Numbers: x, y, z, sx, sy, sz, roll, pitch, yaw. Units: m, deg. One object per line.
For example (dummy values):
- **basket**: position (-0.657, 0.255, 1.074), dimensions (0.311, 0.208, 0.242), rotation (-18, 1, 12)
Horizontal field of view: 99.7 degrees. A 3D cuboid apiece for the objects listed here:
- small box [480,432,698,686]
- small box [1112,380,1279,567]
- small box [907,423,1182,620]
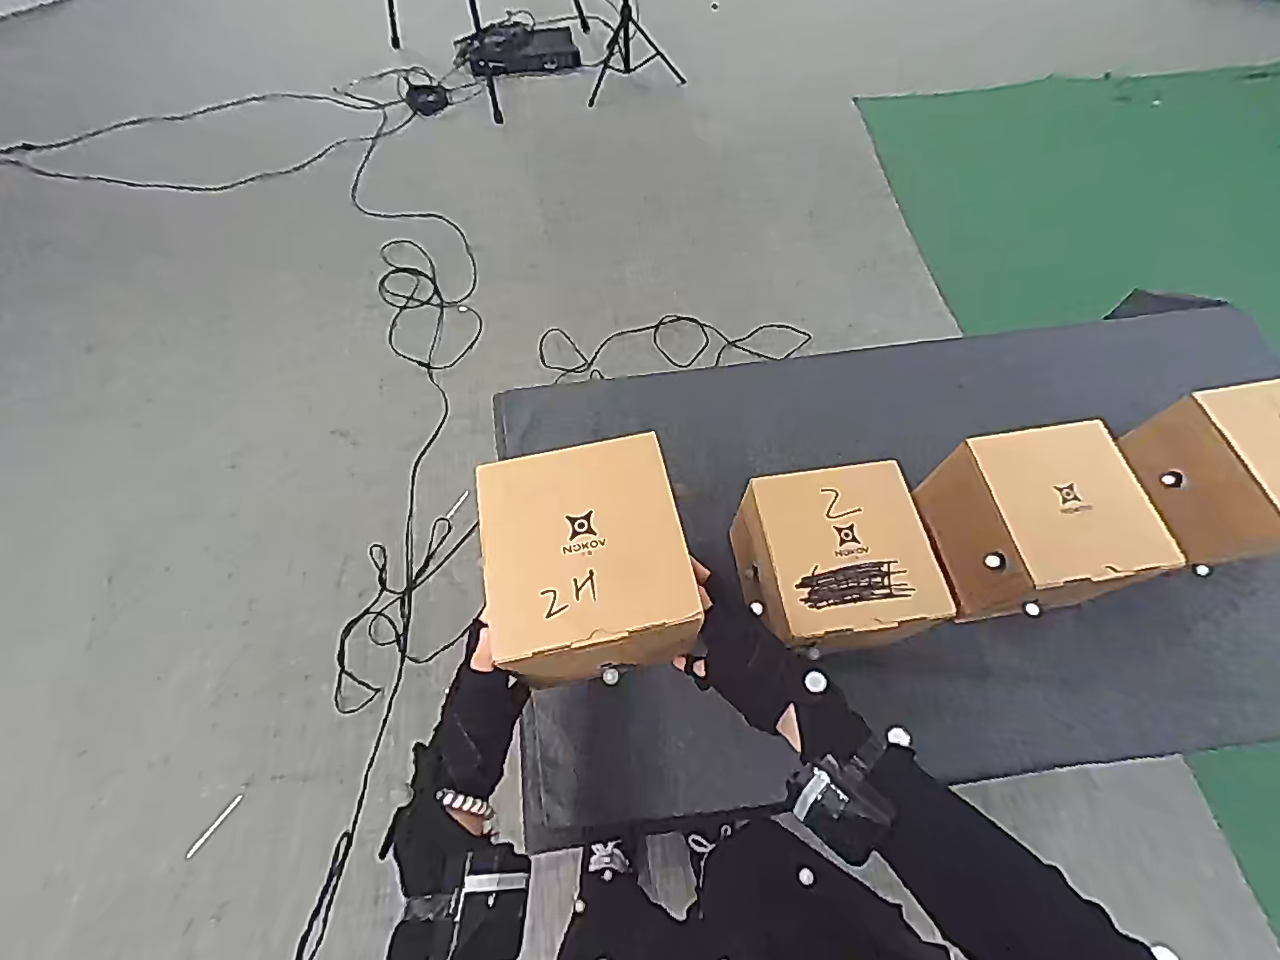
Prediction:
- **small box**: position (-0.047, 0.082, 0.521), dimensions (0.168, 0.176, 0.179), rotation (-11, 61, -3)
- **small box**: position (0.733, 0.000, 0.671), dimensions (0.168, 0.176, 0.179), rotation (-9, 64, -4)
- **small box**: position (0.457, 0.055, 0.650), dimensions (0.168, 0.176, 0.179), rotation (-8, 65, -4)
